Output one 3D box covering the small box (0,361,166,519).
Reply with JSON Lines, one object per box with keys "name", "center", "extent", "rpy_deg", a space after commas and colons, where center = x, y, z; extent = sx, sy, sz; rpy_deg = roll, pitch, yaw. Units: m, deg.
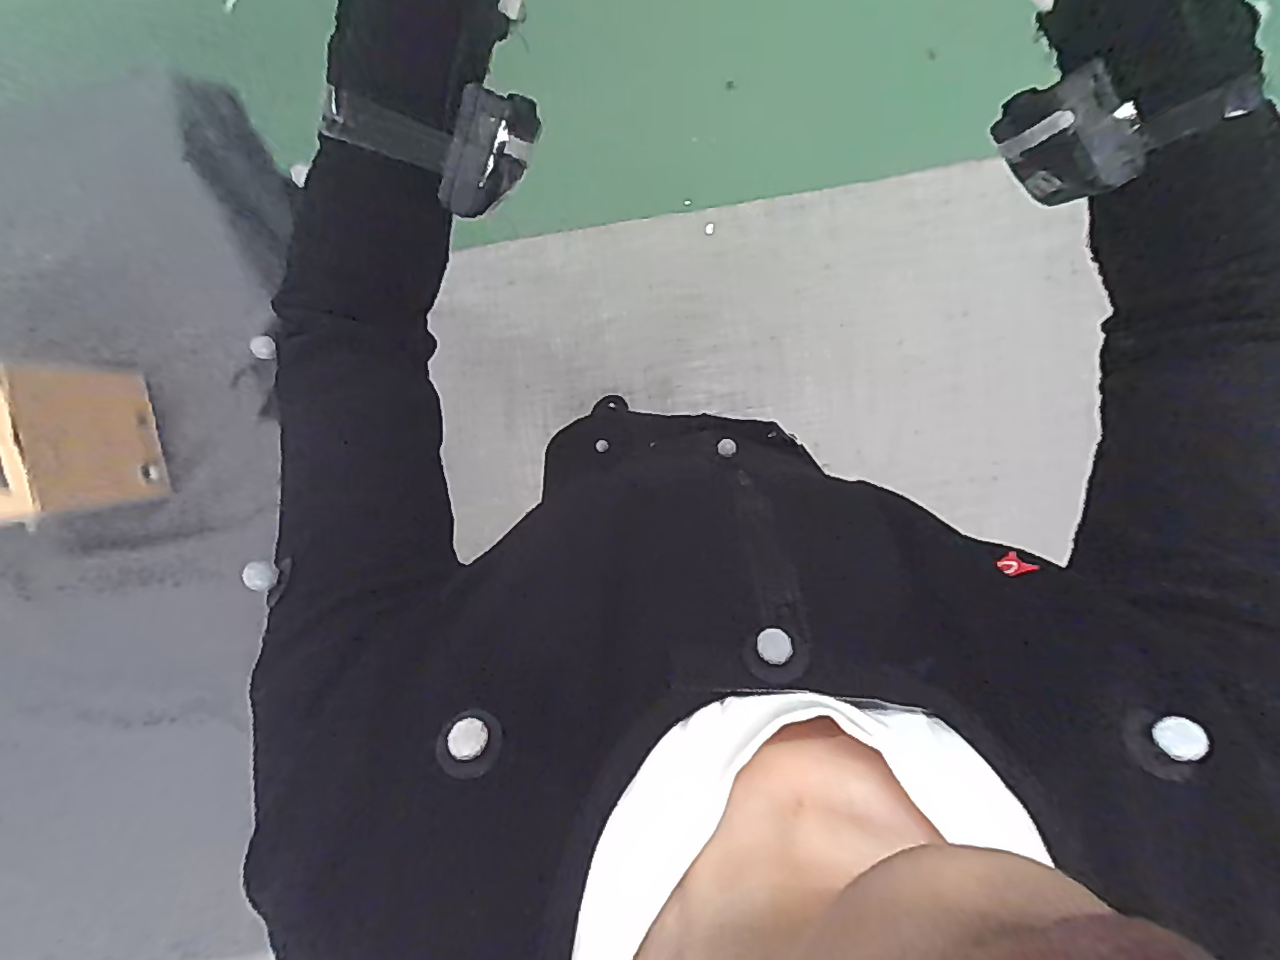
{"name": "small box", "center": [-0.729, -0.044, 0.654], "extent": [0.179, 0.176, 0.168], "rpy_deg": [-9, 96, 2]}
